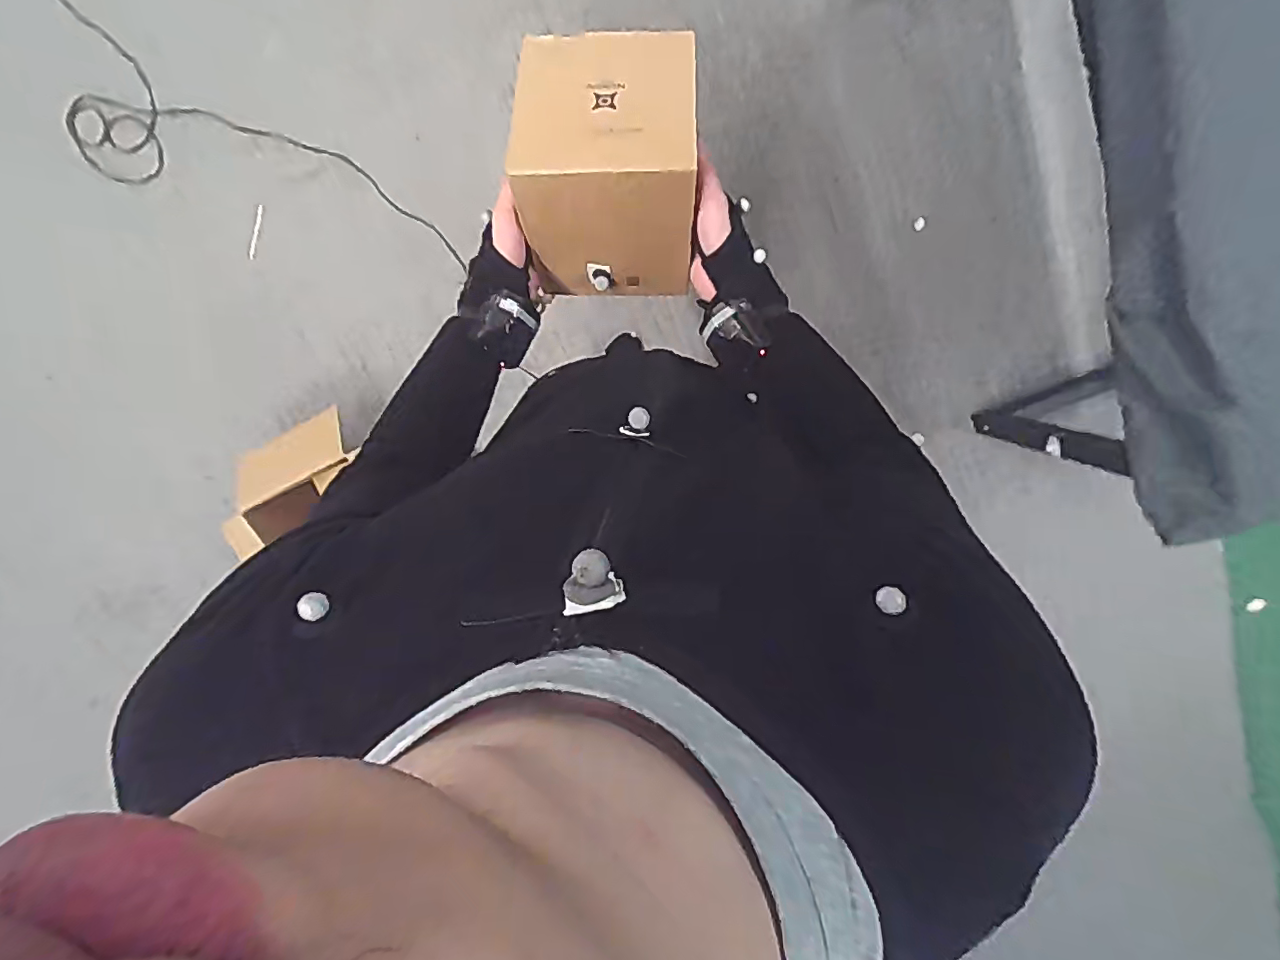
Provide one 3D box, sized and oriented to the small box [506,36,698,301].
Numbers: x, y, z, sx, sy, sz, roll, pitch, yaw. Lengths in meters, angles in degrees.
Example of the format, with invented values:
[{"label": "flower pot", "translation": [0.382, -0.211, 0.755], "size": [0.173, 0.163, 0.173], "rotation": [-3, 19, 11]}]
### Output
[{"label": "small box", "translation": [-0.028, -0.310, 0.559], "size": [0.168, 0.176, 0.179], "rotation": [-1, 71, 3]}]
